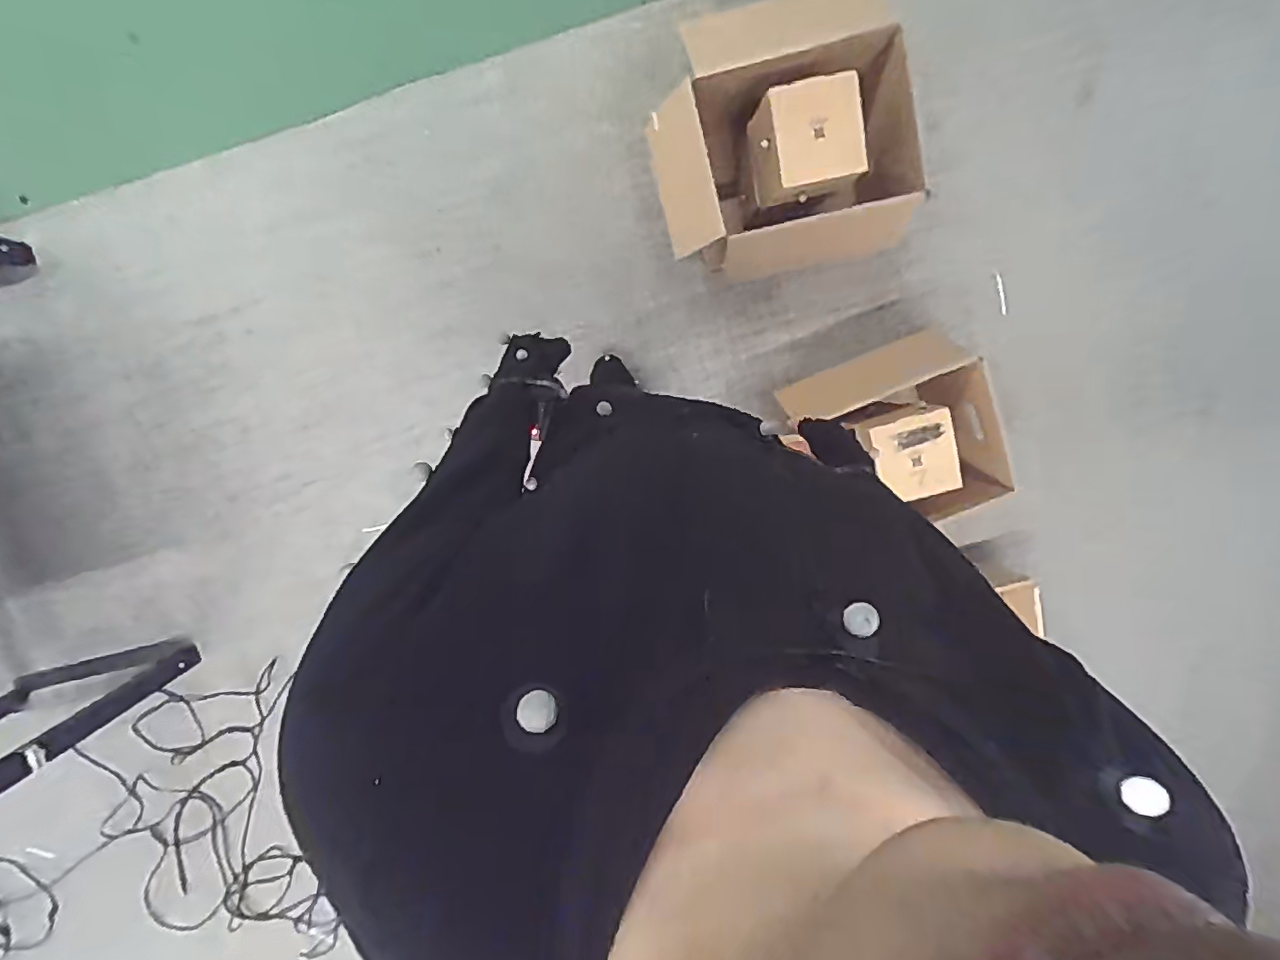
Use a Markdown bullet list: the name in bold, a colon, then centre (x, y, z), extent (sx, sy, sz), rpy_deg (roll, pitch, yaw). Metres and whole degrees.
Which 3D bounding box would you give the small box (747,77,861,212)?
- **small box**: centre (0.326, -0.664, 1.096), extent (0.168, 0.176, 0.179), rpy_deg (-12, 100, 0)
